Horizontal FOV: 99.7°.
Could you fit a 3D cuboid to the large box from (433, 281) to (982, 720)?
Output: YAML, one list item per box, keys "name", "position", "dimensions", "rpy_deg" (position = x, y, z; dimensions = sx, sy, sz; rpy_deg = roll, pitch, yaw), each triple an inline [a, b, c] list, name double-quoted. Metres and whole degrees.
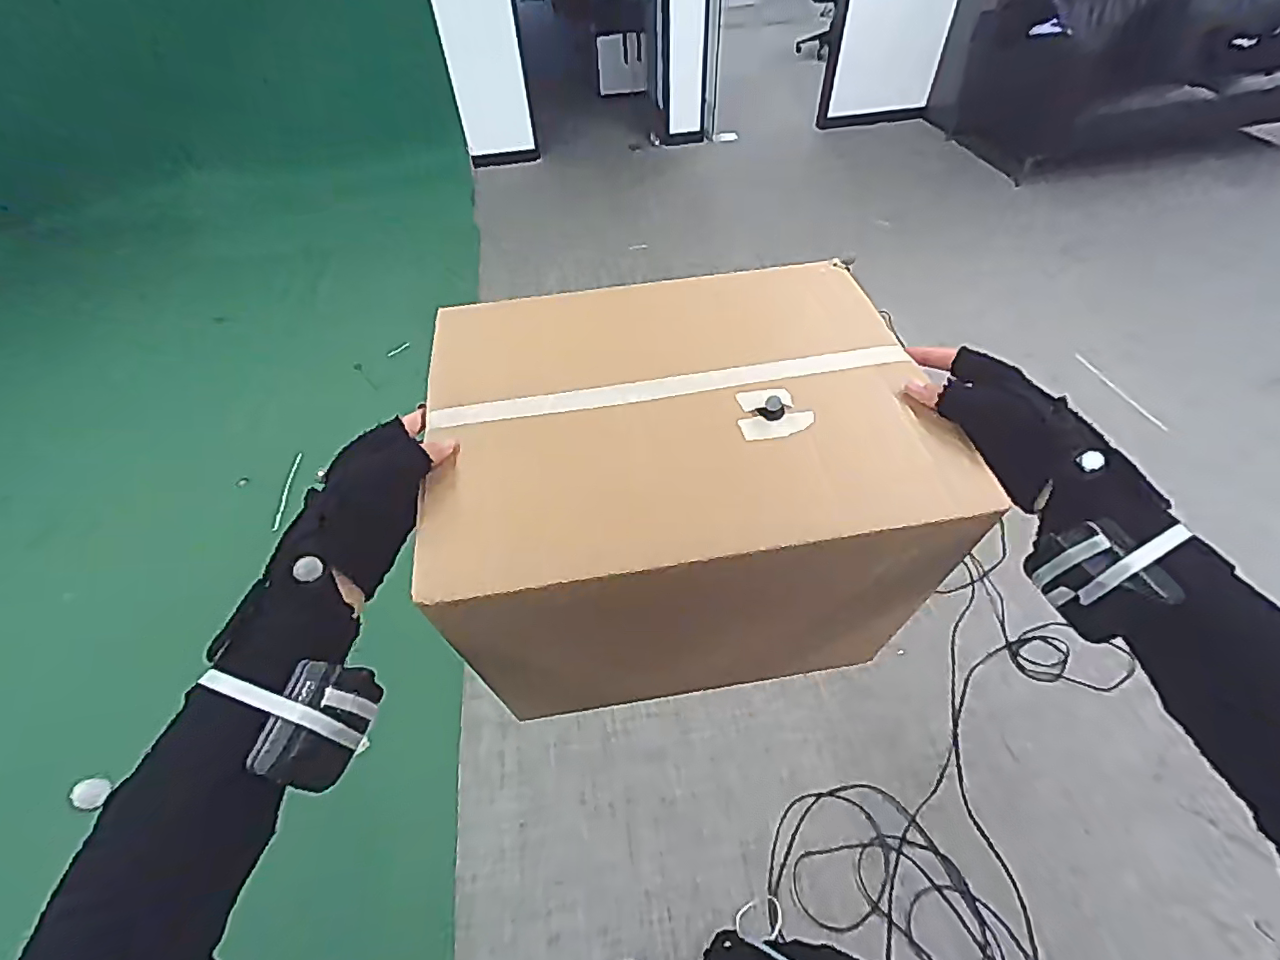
- name: "large box"
  position: [0.033, 0.026, 0.580]
  dimensions: [0.408, 0.320, 0.320]
  rpy_deg: [-8, 53, -5]
